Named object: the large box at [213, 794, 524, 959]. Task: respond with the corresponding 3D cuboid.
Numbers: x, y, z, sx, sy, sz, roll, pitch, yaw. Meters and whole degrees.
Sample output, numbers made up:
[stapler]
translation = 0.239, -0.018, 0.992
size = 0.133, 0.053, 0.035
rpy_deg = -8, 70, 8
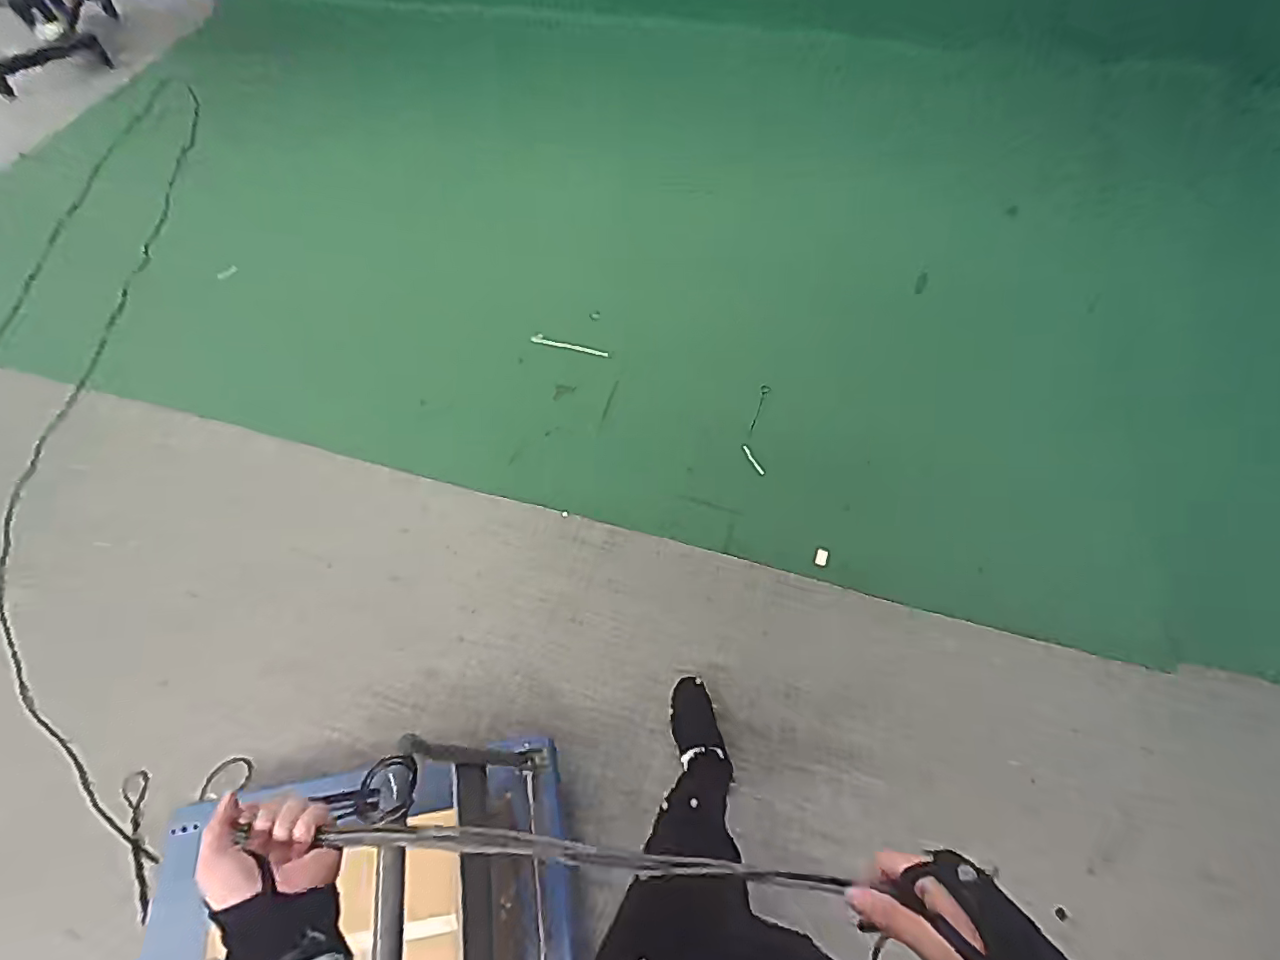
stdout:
[large box]
translation = -0.456, 0.789, 0.974
size = 0.408, 0.320, 0.320
rpy_deg = -11, 61, -1
